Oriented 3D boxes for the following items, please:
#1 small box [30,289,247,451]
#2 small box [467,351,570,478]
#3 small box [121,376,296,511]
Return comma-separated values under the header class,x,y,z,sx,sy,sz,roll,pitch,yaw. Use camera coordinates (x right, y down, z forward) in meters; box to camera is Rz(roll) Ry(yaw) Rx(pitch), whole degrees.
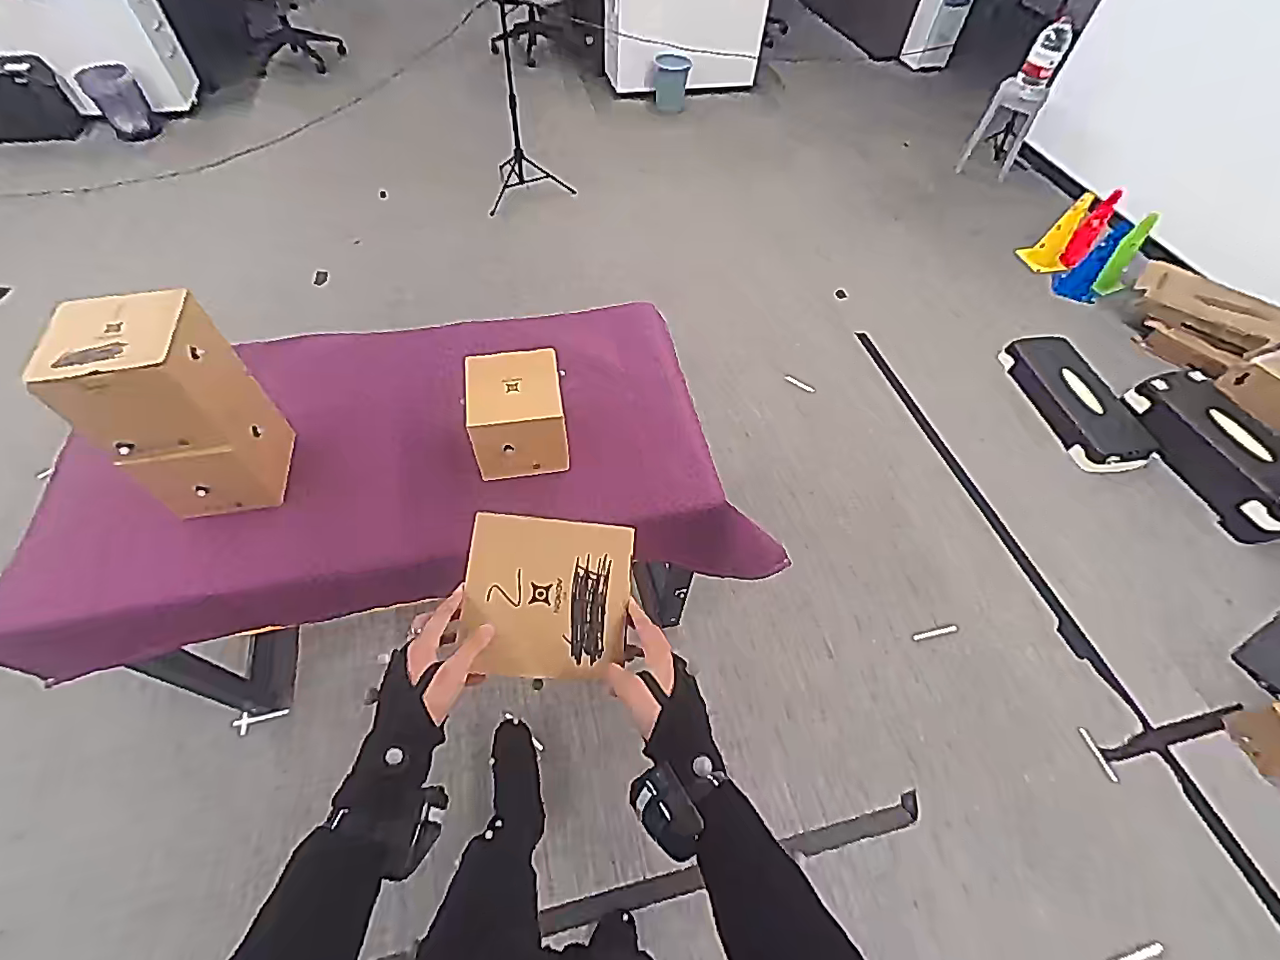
class,x,y,z,sx,sy,sz,roll,pitch,yaw
small box,-0.736,-0.159,0.822,0.168,0.176,0.179,-11,56,-12
small box,-0.228,-0.118,1.033,0.168,0.176,0.179,-7,55,-8
small box,-0.739,-0.057,0.952,0.168,0.176,0.179,-7,56,-9
